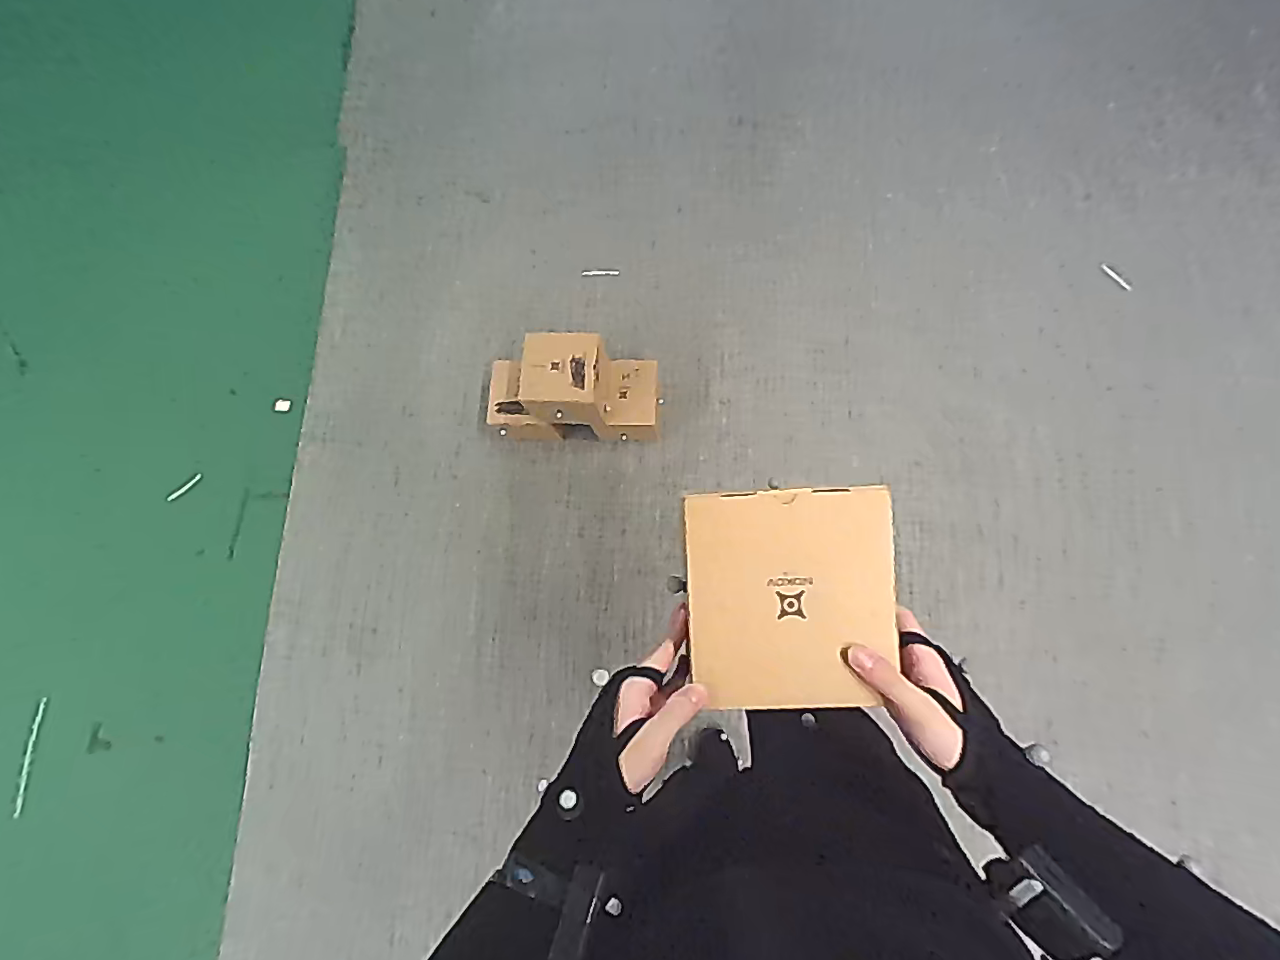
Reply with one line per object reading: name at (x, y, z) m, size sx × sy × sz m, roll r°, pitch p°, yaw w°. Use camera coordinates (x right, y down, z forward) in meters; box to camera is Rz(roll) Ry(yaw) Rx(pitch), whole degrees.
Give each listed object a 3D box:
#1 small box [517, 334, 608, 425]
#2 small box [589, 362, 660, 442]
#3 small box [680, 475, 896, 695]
small box at (-0.177, -0.235, 1.295) m, size 0.179 × 0.176 × 0.168 m, roll 2°, pitch 79°, yaw 7°
small box at (-0.036, -0.203, 1.443) m, size 0.168 × 0.176 × 0.179 m, roll 1°, pitch 79°, yaw 6°
small box at (0.125, 0.087, 0.517) m, size 0.168 × 0.176 × 0.179 m, roll -4°, pitch 88°, yaw 3°
